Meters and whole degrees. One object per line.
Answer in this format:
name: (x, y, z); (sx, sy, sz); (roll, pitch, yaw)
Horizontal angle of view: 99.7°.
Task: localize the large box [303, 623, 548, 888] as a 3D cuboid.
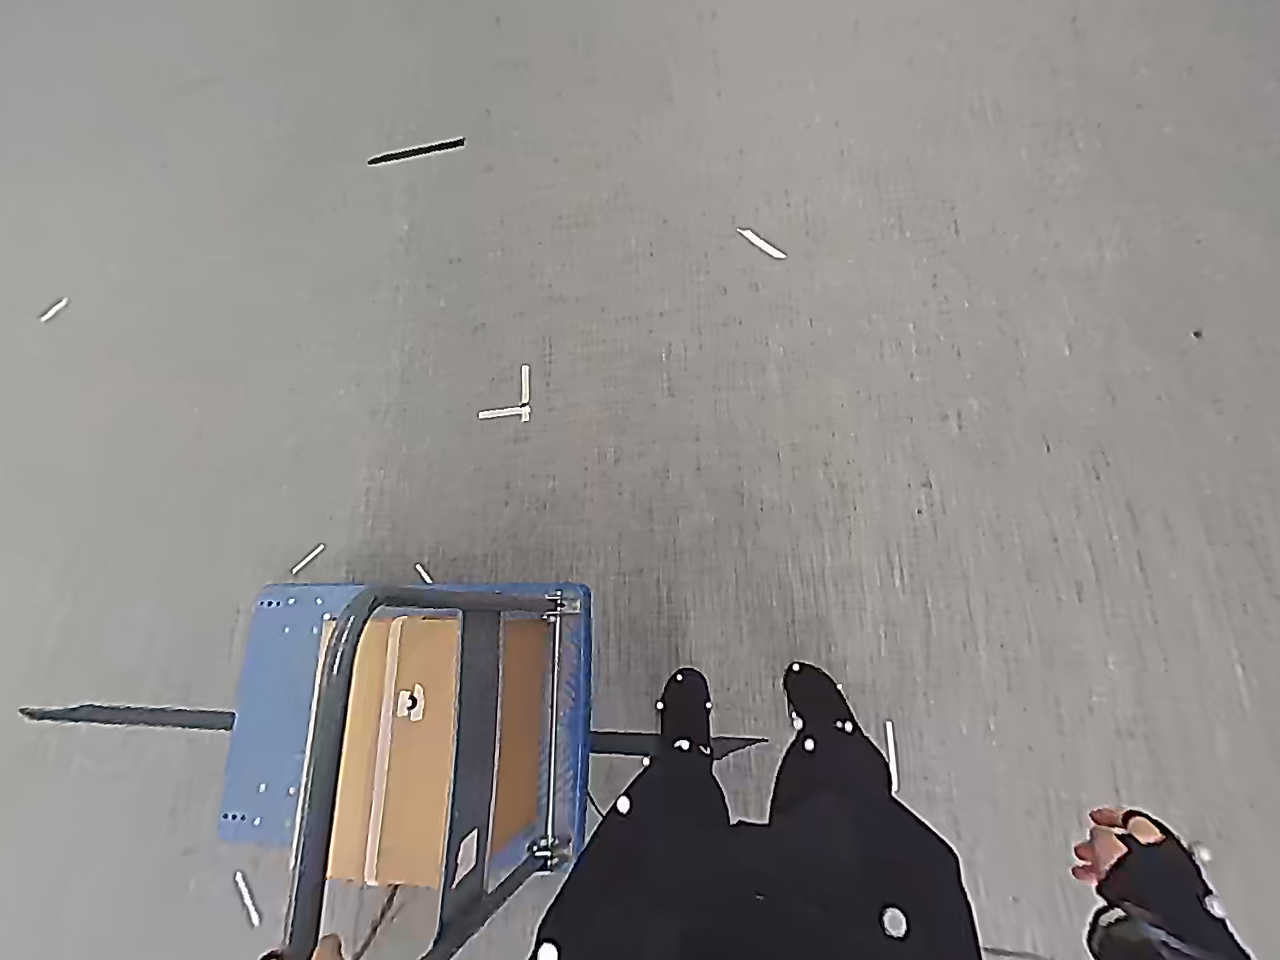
large box: (-0.383, 0.491, 1.057); (0.320, 0.320, 0.408); (-3, 75, 11)
